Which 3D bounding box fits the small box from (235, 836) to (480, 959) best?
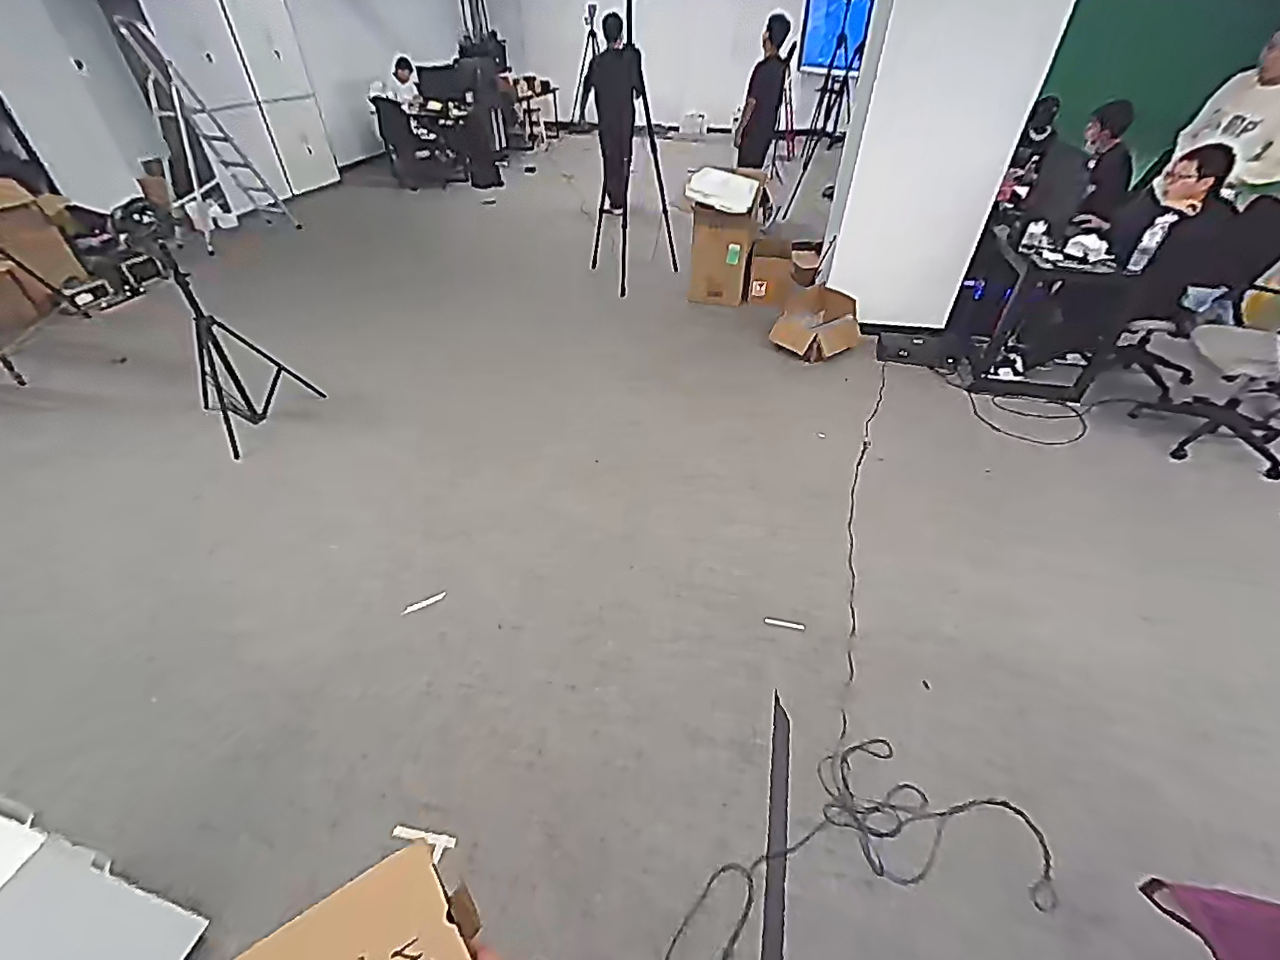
[{"bbox_3d":[-0.237,0.489,0.493,0.179,0.176,0.168,-20,40,-33],"label":"small box"}]
